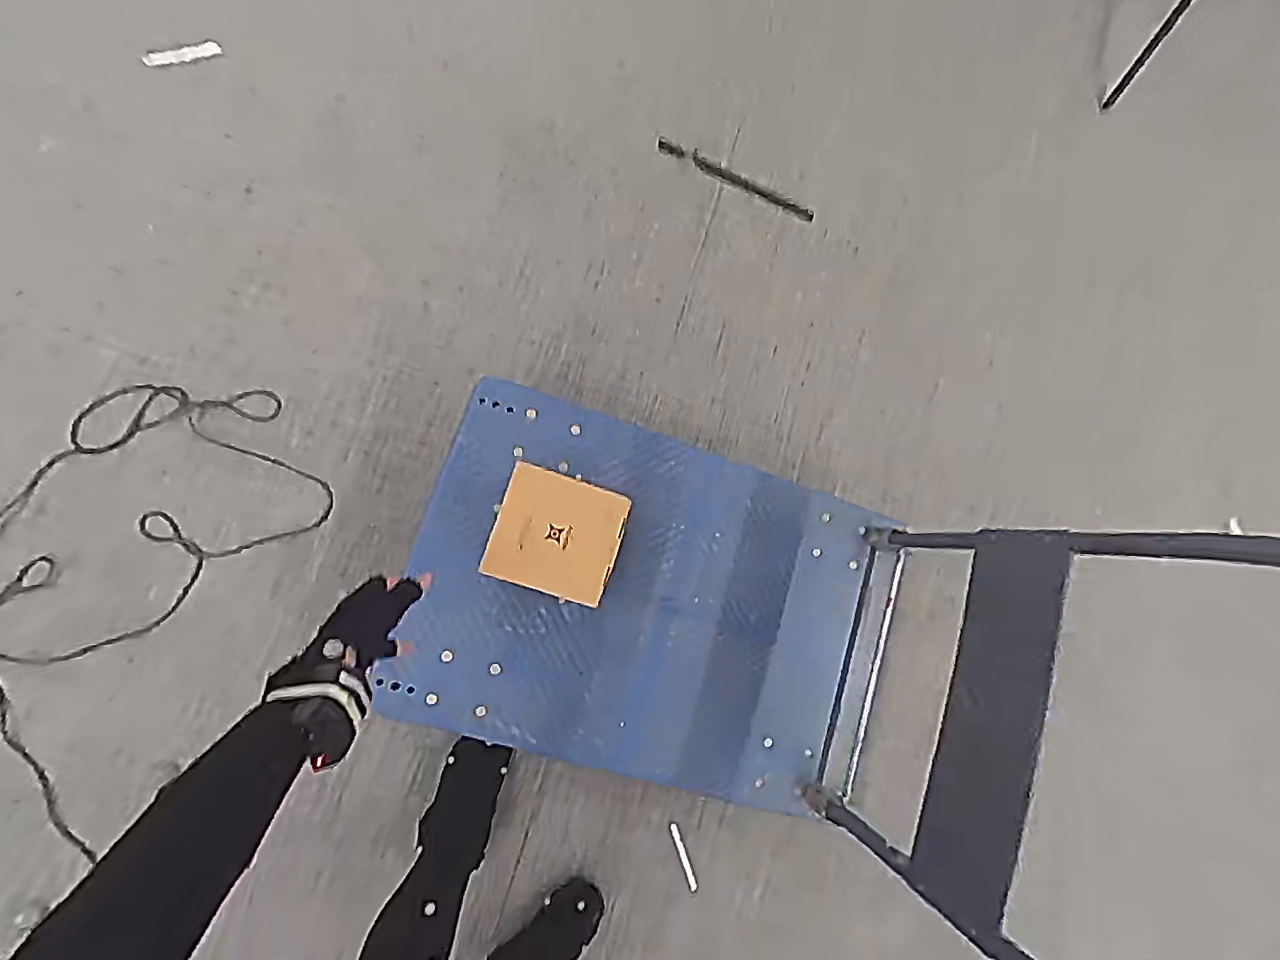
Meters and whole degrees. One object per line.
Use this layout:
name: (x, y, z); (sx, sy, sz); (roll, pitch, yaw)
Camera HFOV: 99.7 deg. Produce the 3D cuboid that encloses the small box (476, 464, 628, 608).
small box: (-0.137, 0.087, 0.843); (0.179, 0.176, 0.168); (19, 80, -9)
